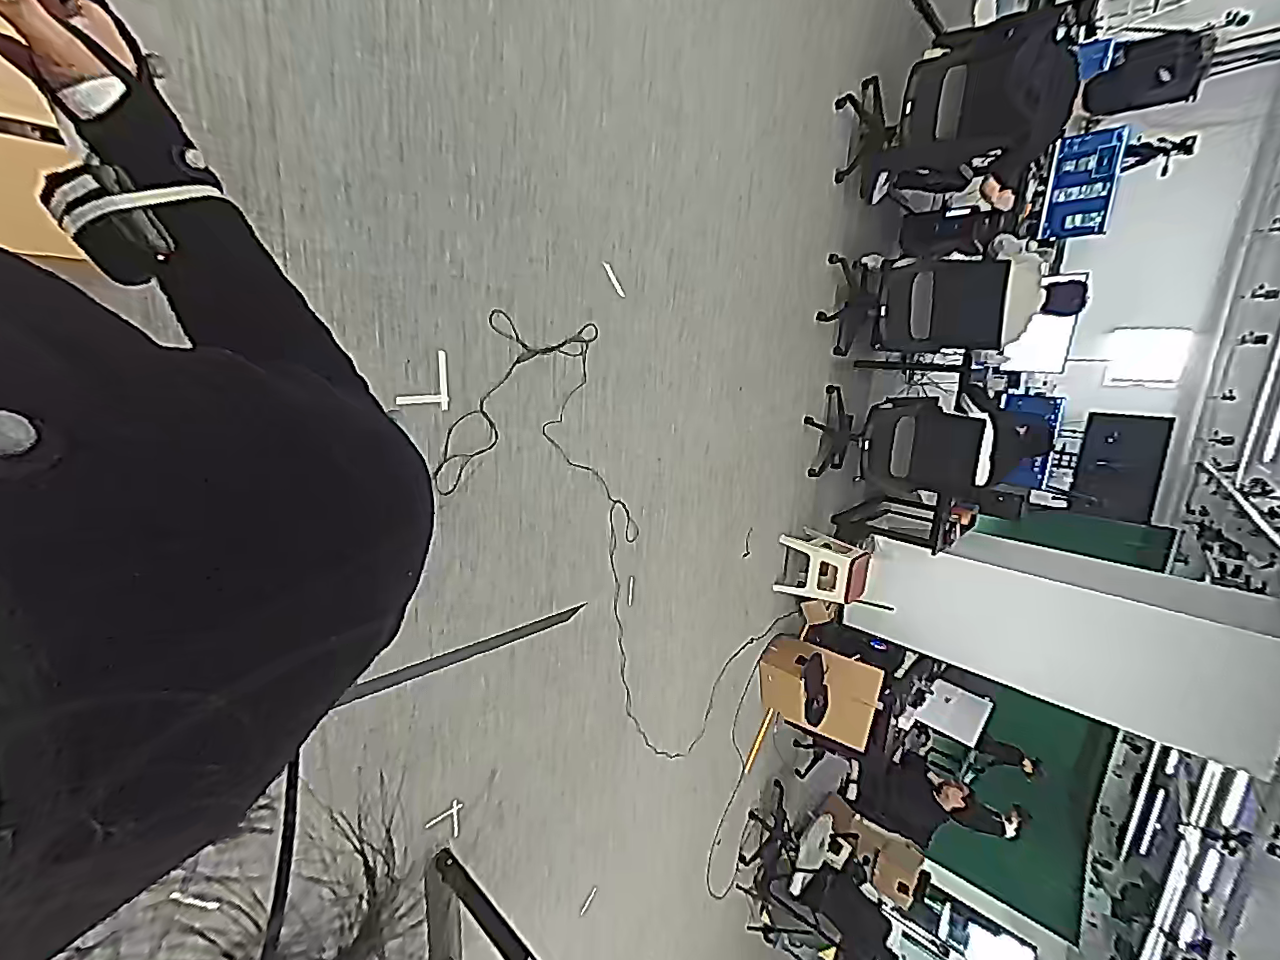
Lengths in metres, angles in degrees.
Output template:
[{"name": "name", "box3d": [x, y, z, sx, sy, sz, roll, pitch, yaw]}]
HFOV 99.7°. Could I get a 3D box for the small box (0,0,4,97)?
[{"name": "small box", "box3d": [-0.401, -0.291, 0.228, 0.168, 0.176, 0.179, -1, 118, -47]}]
